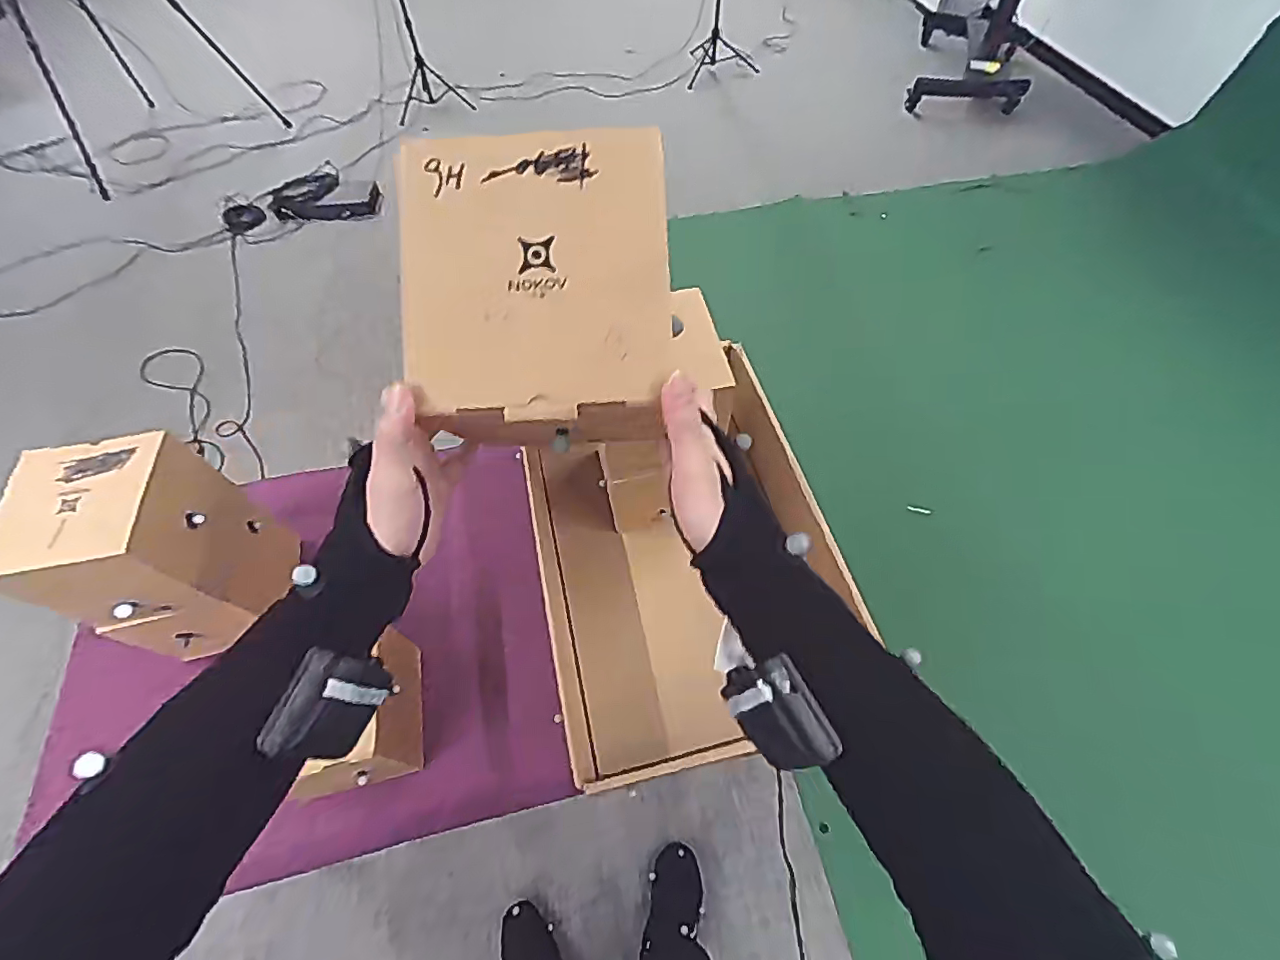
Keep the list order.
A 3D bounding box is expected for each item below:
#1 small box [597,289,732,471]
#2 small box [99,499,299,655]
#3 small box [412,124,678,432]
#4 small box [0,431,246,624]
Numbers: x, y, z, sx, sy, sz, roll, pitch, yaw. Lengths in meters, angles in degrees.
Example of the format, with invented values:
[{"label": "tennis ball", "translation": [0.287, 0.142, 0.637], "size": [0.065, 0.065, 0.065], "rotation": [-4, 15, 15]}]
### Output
[{"label": "small box", "translation": [0.017, -0.126, 0.739], "size": [0.168, 0.176, 0.179], "rotation": [-10, 59, -5]}, {"label": "small box", "translation": [-0.655, 0.156, 0.831], "size": [0.168, 0.176, 0.179], "rotation": [-13, 58, -7]}, {"label": "small box", "translation": [-0.059, -0.132, 0.417], "size": [0.168, 0.176, 0.179], "rotation": [-2, 87, -1]}, {"label": "small box", "translation": [-0.651, 0.065, 0.694], "size": [0.168, 0.176, 0.179], "rotation": [-10, 59, -5]}]
